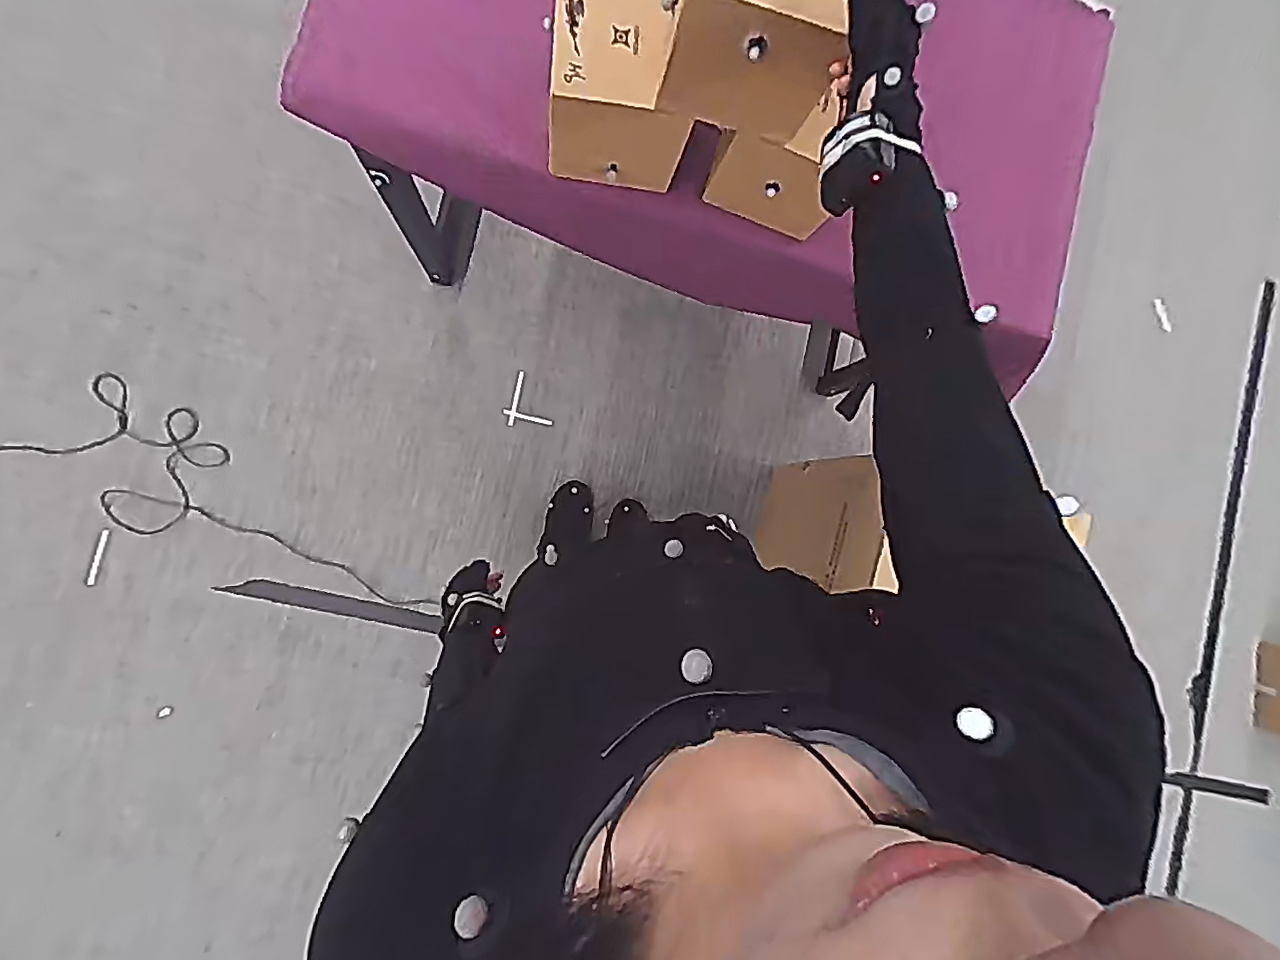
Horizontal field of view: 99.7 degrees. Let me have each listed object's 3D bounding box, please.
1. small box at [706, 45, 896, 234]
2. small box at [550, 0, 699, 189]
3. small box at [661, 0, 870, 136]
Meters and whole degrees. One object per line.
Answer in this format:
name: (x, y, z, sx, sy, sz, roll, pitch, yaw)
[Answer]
small box: (0.214, -0.477, 0.757, 0.179, 0.176, 0.168, 18, 85, -7)
small box: (-0.025, -0.518, 0.721, 0.179, 0.176, 0.168, 3, 87, -10)
small box: (0.129, -0.511, 0.580, 0.179, 0.176, 0.168, 10, 88, -10)
